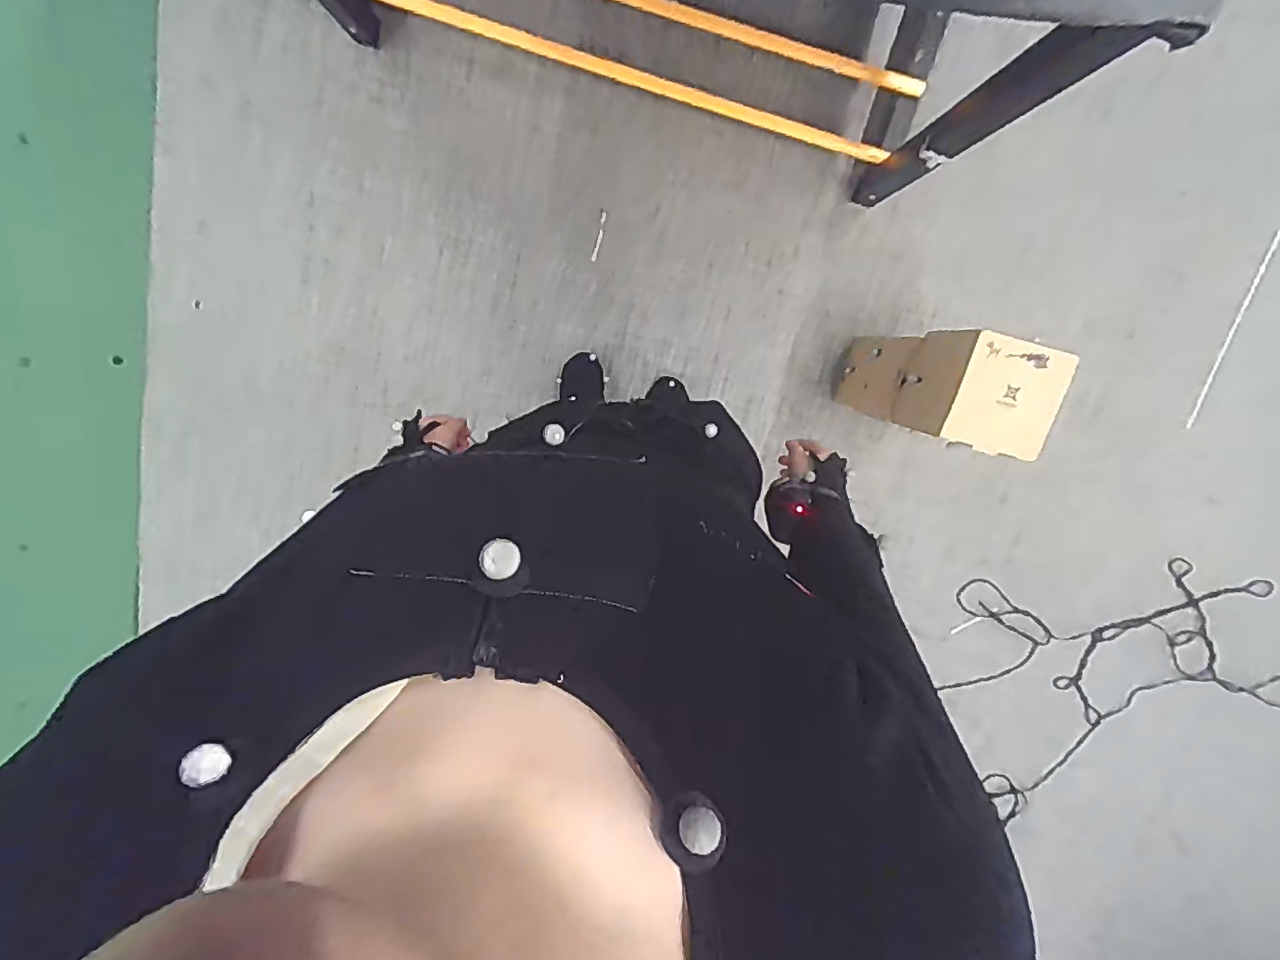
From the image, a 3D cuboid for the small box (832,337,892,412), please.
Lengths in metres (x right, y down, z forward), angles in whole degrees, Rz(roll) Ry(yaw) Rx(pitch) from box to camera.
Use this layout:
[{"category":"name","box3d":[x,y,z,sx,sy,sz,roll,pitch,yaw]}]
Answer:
[{"category":"small box","box3d":[0.575,-0.223,1.241,0.179,0.176,0.168,15,102,-4]}]

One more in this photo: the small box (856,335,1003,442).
[{"category":"small box","box3d":[0.563,-0.185,1.081,0.179,0.176,0.168,13,103,-4]}]
